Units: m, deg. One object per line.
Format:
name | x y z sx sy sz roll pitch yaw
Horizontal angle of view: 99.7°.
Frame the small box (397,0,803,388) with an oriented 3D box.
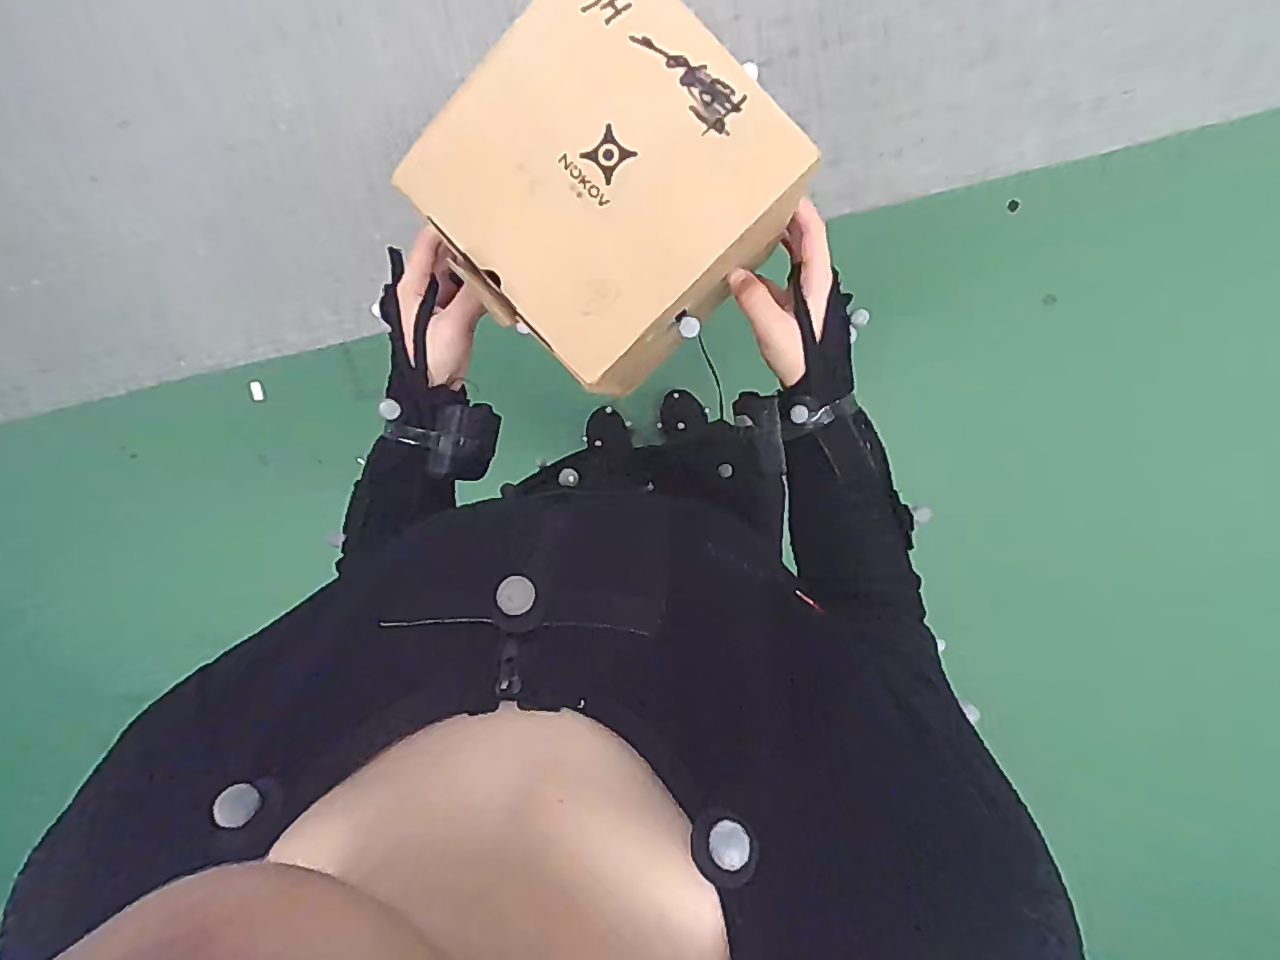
small box | -0.017 -0.179 0.378 0.179 0.176 0.168 -43 91 10
